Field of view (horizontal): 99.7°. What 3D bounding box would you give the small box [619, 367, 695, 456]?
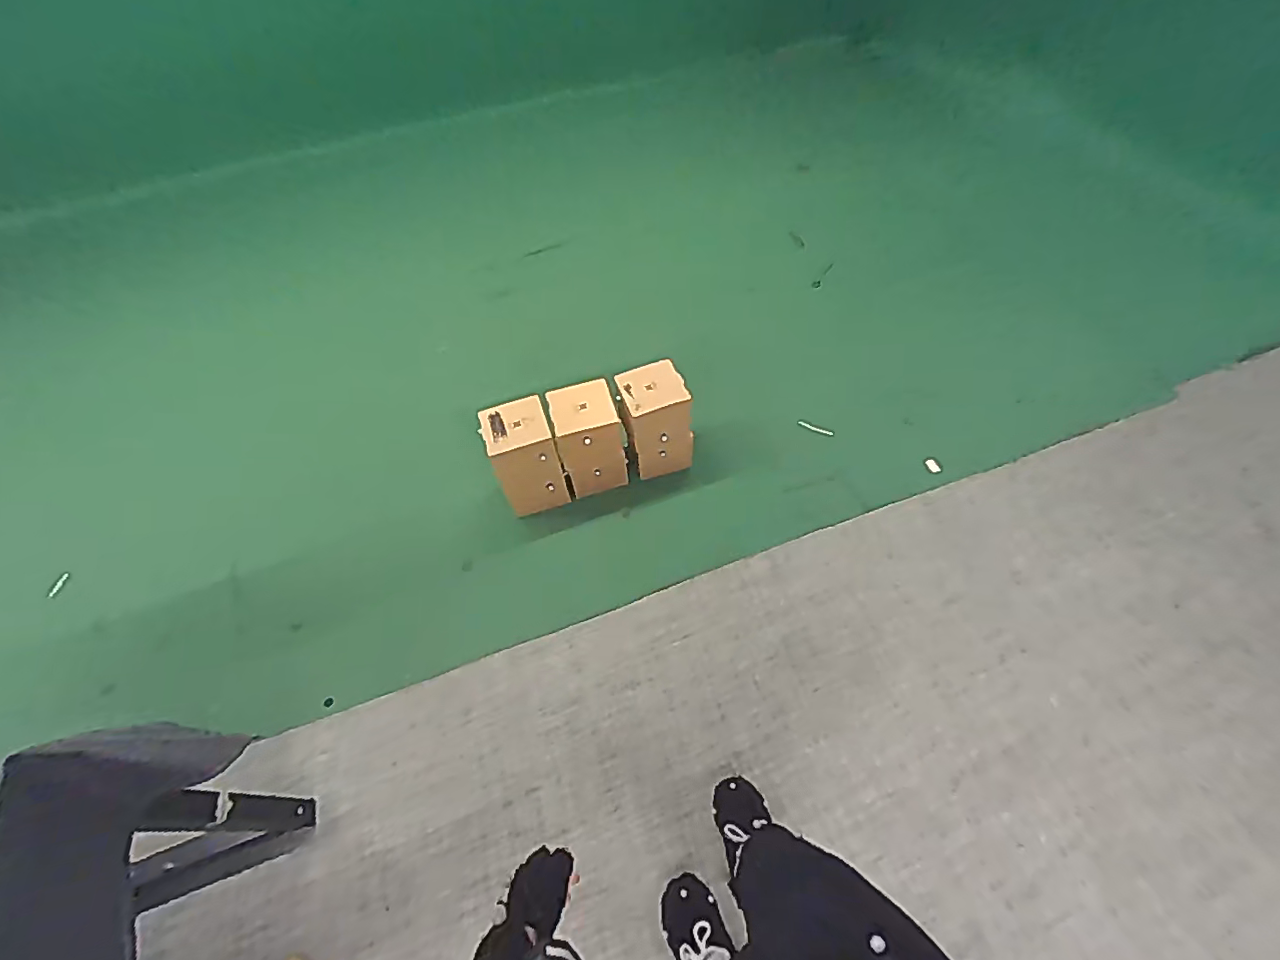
[{"bbox_3d":[0.048,-0.197,1.580,0.179,0.176,0.168,-18,57,-9],"label":"small box"}]
